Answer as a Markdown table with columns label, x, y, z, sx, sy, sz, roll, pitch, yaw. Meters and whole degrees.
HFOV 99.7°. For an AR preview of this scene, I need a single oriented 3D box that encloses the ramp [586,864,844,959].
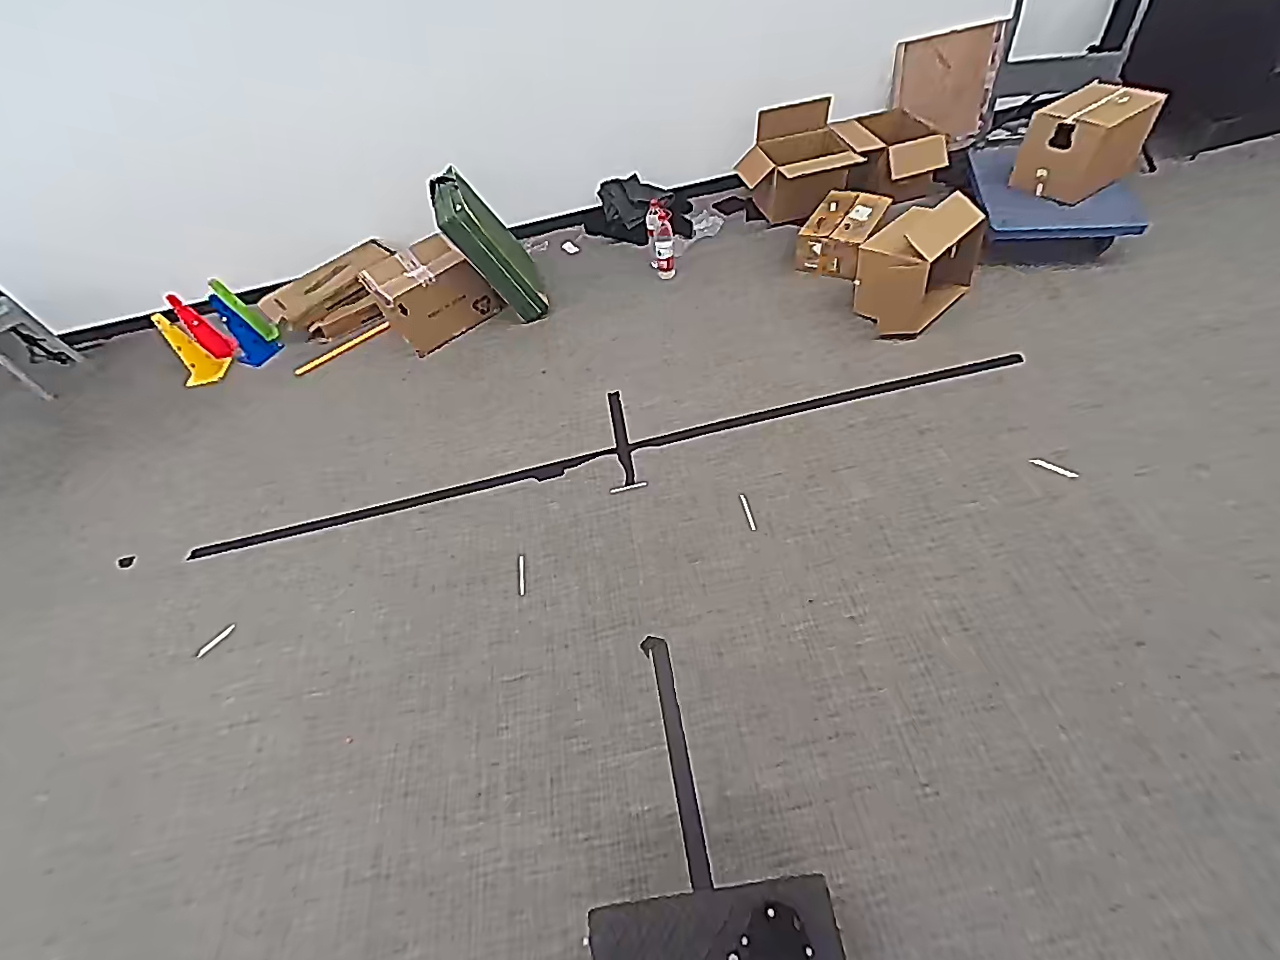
| label | x | y | z | sx | sy | sz | roll | pitch | yaw |
| --- | --- | --- | --- | --- | --- | --- | --- | --- | --- |
| ramp | 0.201 | 1.255 | 0.875 | 0.509 | 0.206 | 0.991 | -11 | 52 | 1 |
